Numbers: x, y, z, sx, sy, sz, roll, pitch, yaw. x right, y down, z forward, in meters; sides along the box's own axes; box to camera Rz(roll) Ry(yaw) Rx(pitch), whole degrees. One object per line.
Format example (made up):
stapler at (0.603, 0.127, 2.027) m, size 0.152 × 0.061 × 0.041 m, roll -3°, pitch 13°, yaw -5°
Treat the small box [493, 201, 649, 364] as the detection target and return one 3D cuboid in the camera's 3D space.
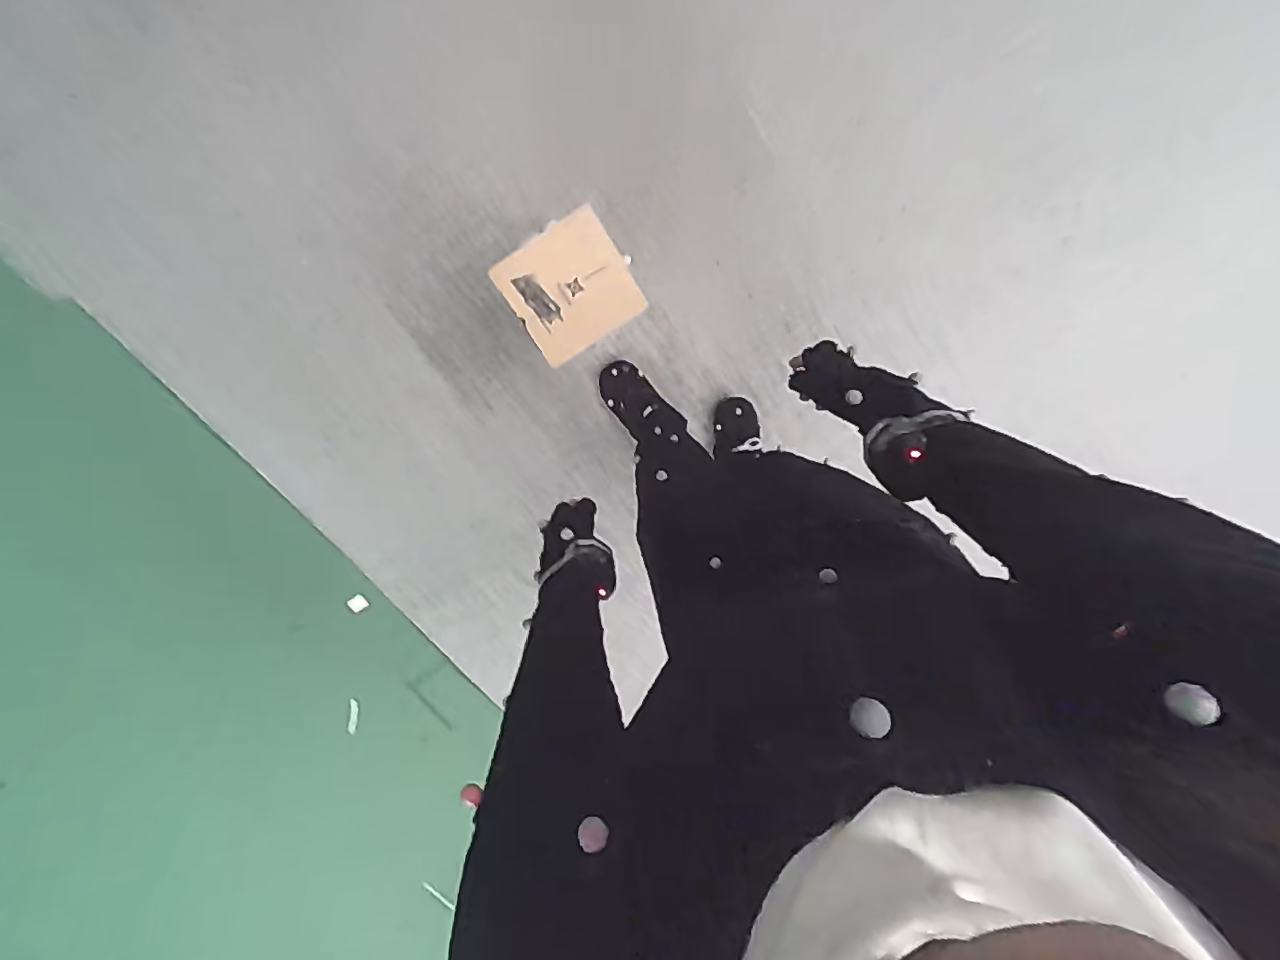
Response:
small box at (-0.101, -0.307, 0.860) m, size 0.179 × 0.176 × 0.168 m, roll -31°, pitch 108°, yaw 7°
